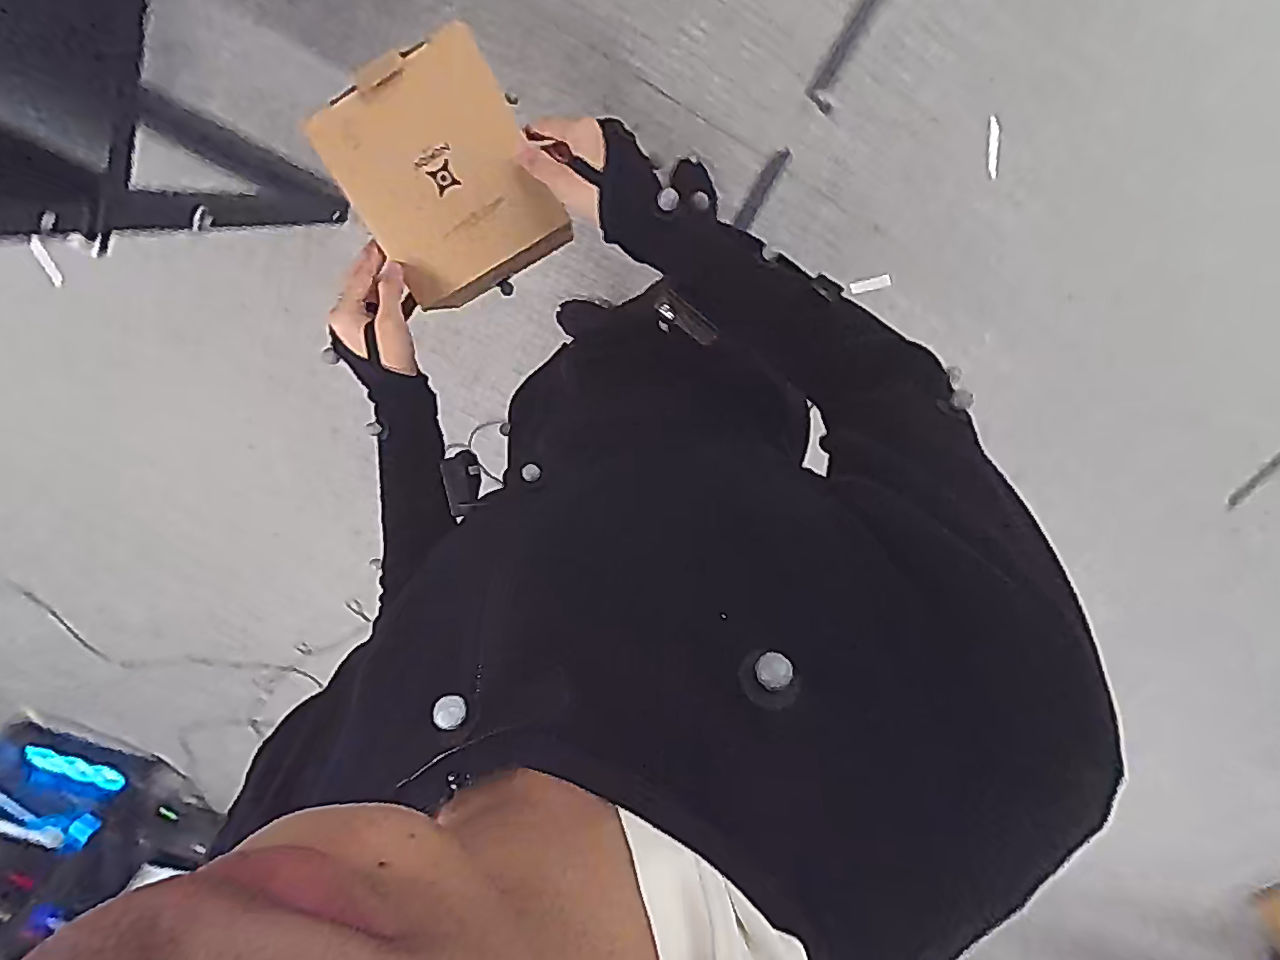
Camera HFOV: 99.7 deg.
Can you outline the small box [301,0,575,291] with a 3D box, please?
[{"bbox_3d":[-0.177,-0.304,0.537,0.168,0.176,0.179,-28,108,4],"label":"small box"}]
